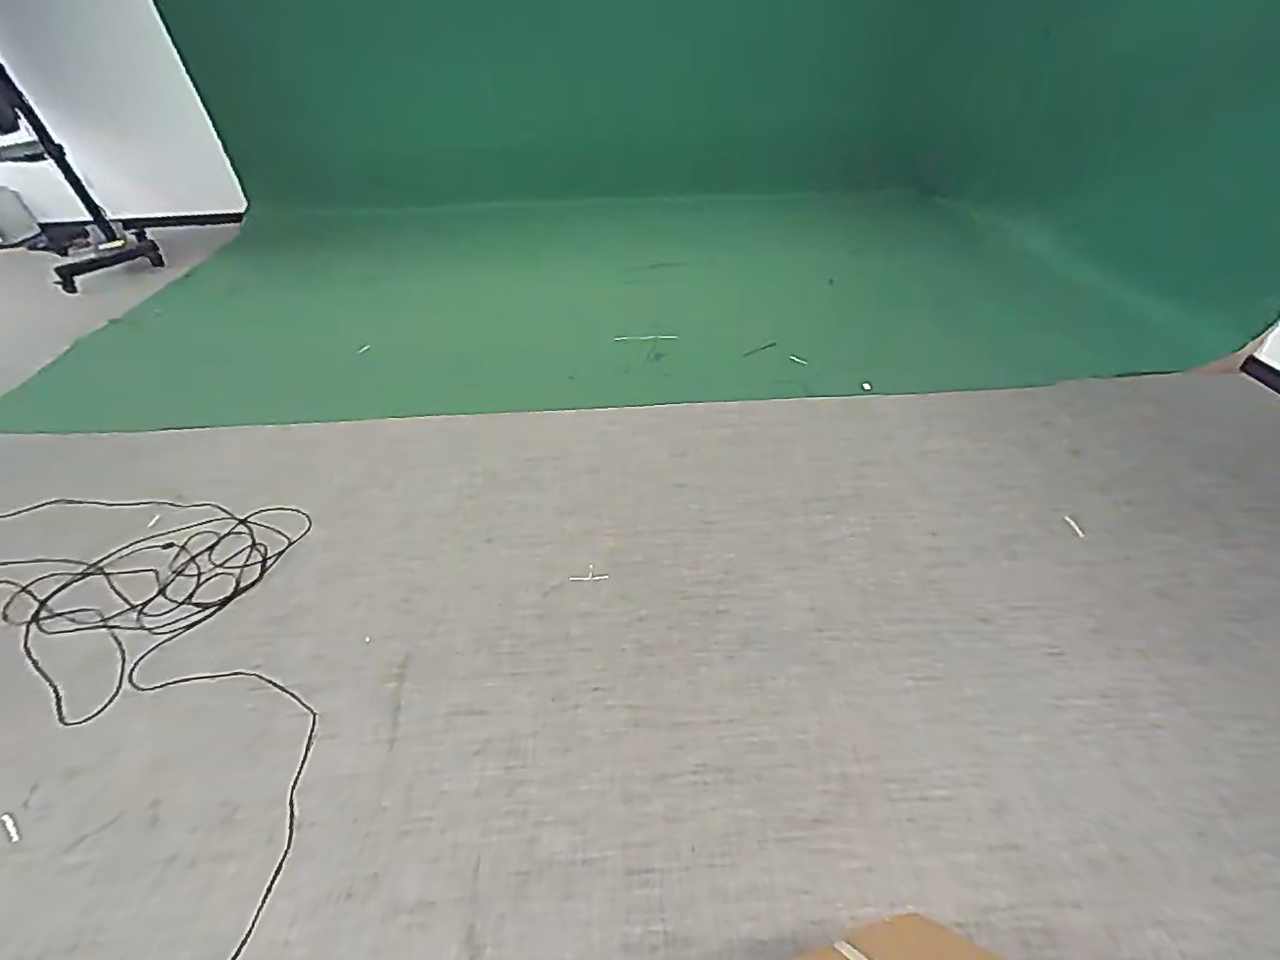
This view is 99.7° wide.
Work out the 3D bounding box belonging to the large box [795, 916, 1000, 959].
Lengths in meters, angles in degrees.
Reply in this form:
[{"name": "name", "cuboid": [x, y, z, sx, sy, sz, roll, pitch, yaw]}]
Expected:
[{"name": "large box", "cuboid": [0.388, 0.807, 0.630, 0.320, 0.408, 0.320, -9, 71, -14]}]
